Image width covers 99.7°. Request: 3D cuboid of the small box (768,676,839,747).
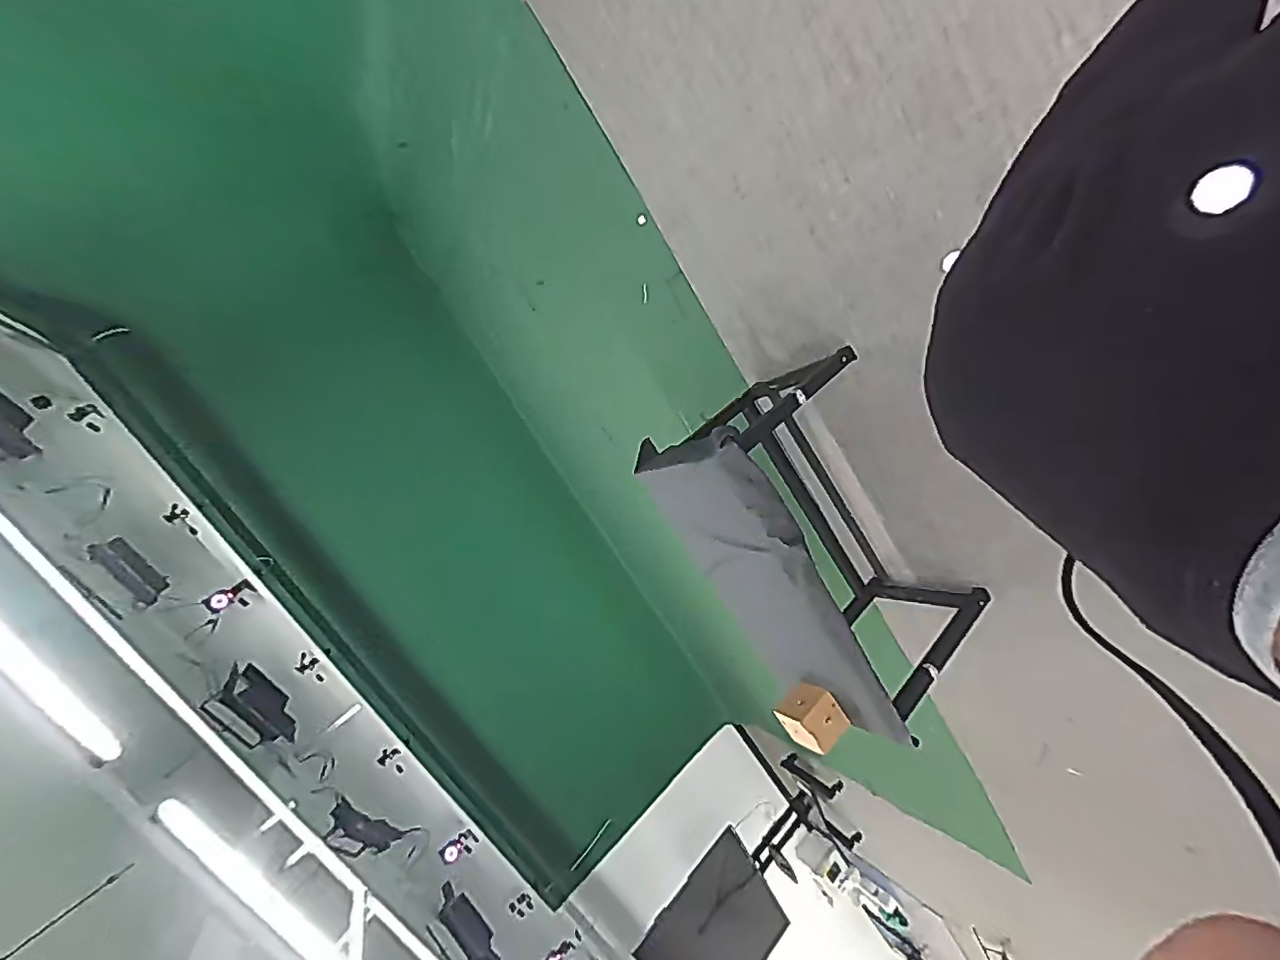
[{"bbox_3d":[0.641,0.884,2.089,0.168,0.176,0.179,55,157,-7],"label":"small box"}]
